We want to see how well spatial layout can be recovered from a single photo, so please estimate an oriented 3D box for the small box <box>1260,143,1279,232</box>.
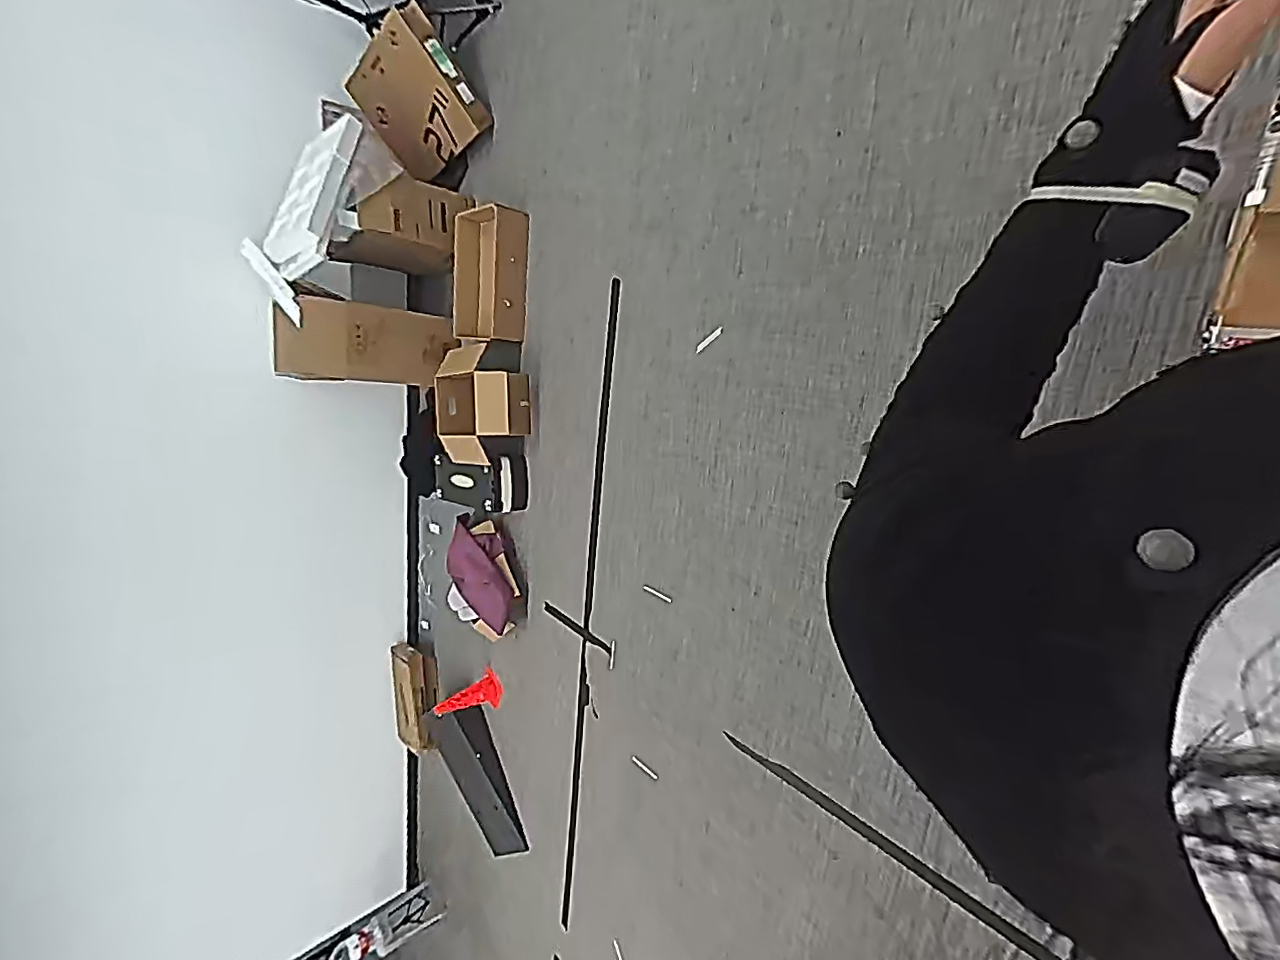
[{"bbox_3d":[0.774,-0.365,0.546,0.168,0.176,0.179,20,111,45],"label":"small box"}]
